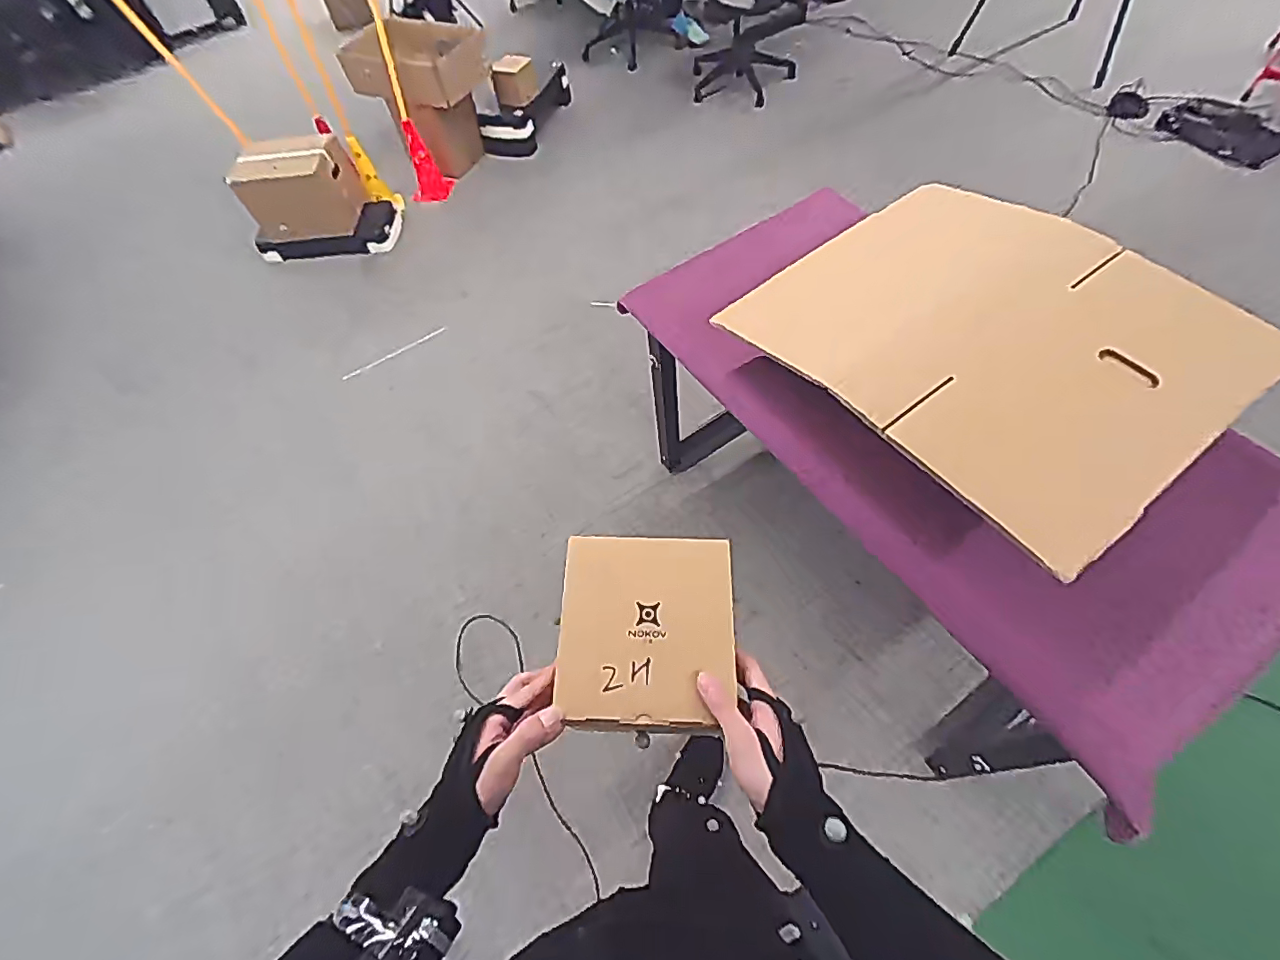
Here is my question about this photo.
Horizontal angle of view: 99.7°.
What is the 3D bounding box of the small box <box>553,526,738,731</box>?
[{"bbox_3d":[0.009,0.165,0.580,0.168,0.176,0.179,2,62,2],"label":"small box"}]
